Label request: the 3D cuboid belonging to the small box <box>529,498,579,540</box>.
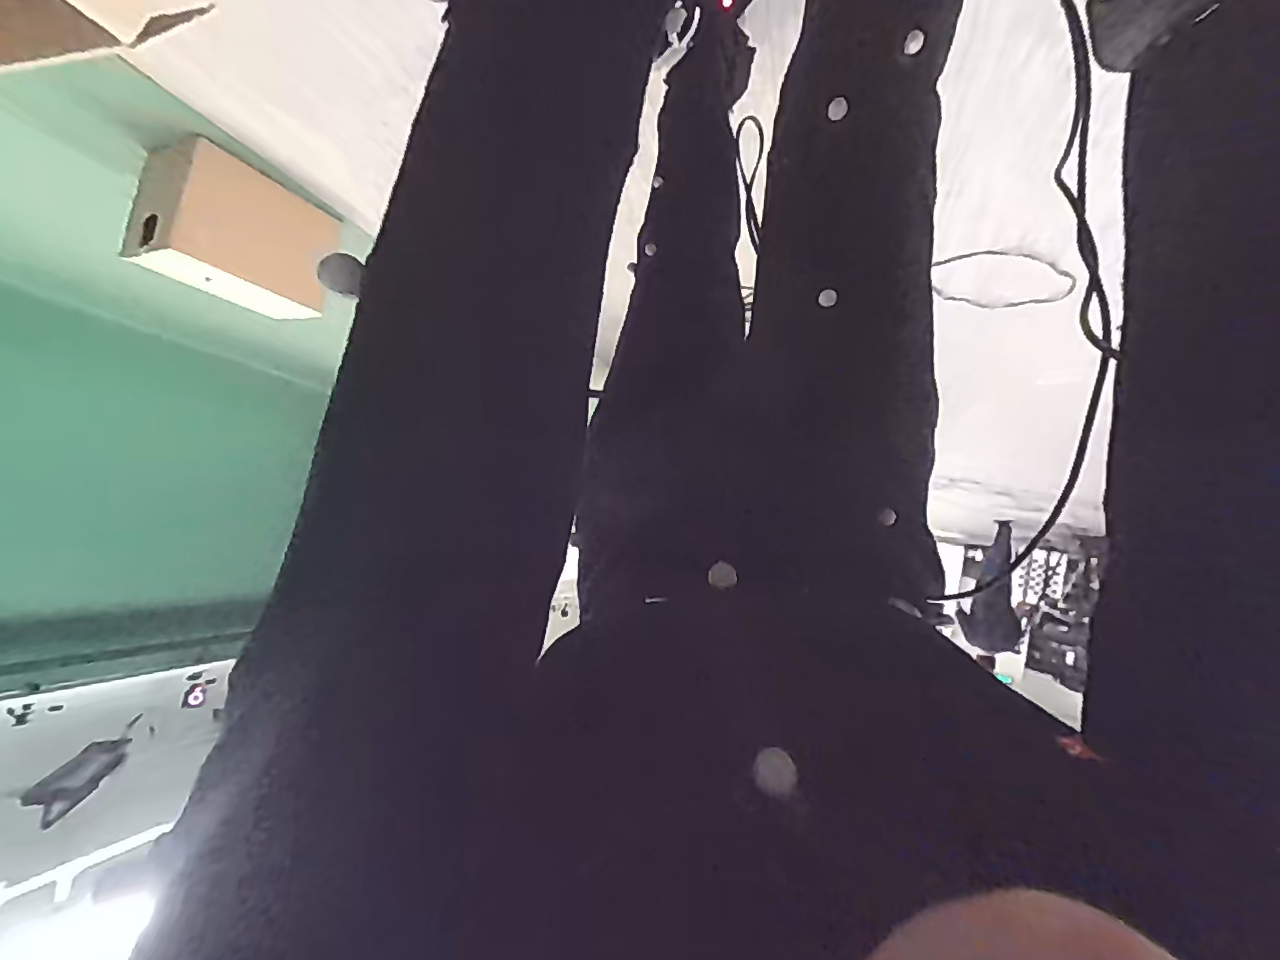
[{"bbox_3d":[-0.392,0.182,2.511,0.179,0.176,0.168,10,176,17],"label":"small box"}]
